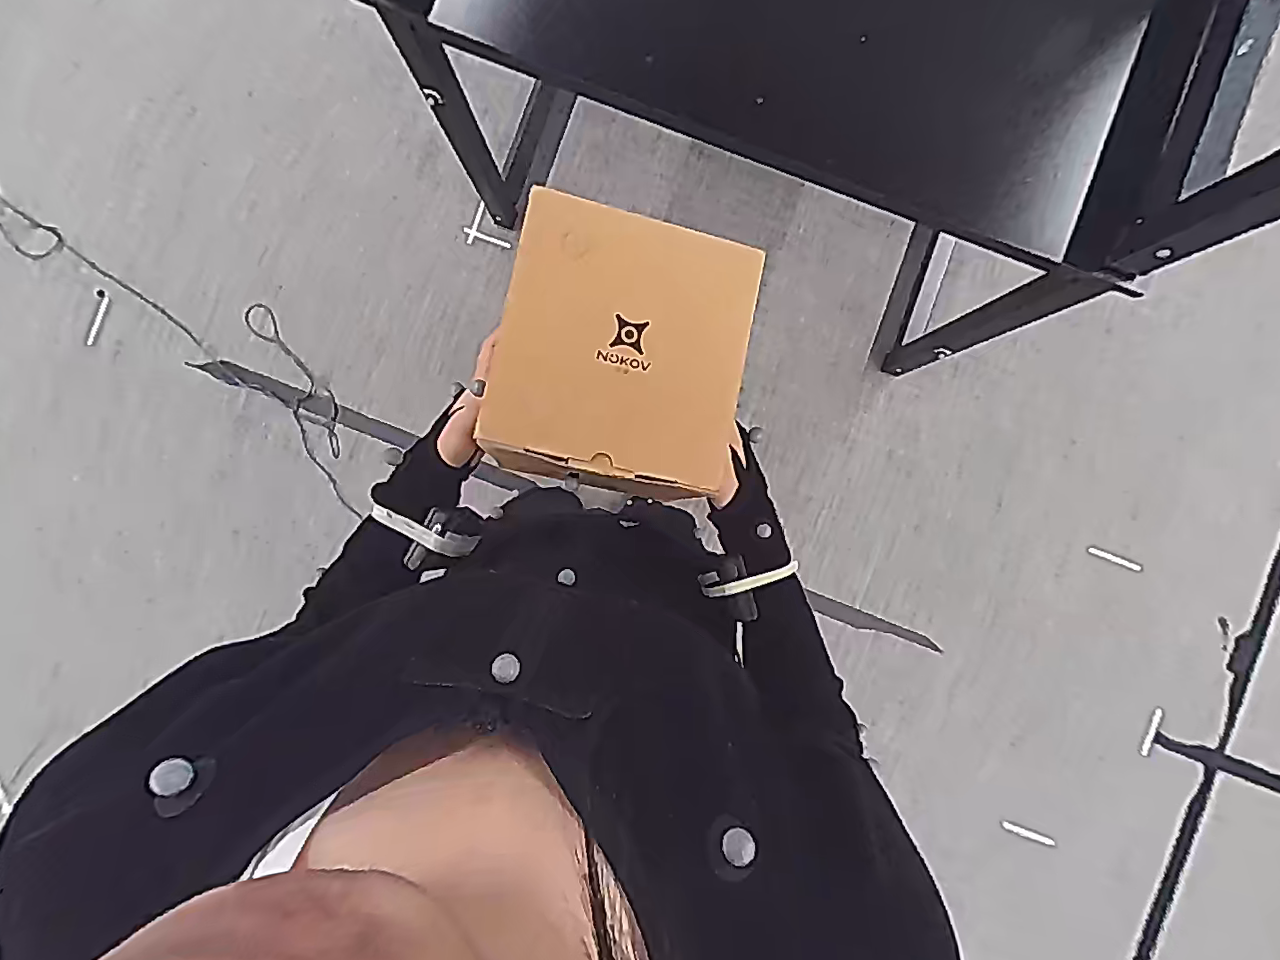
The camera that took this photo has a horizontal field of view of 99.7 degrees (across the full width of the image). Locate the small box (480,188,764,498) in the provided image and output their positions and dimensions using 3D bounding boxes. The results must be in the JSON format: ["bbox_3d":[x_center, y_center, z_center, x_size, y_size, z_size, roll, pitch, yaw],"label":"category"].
[{"bbox_3d":[-0.020,-0.087,0.436,0.168,0.176,0.179,12,85,-8],"label":"small box"}]
